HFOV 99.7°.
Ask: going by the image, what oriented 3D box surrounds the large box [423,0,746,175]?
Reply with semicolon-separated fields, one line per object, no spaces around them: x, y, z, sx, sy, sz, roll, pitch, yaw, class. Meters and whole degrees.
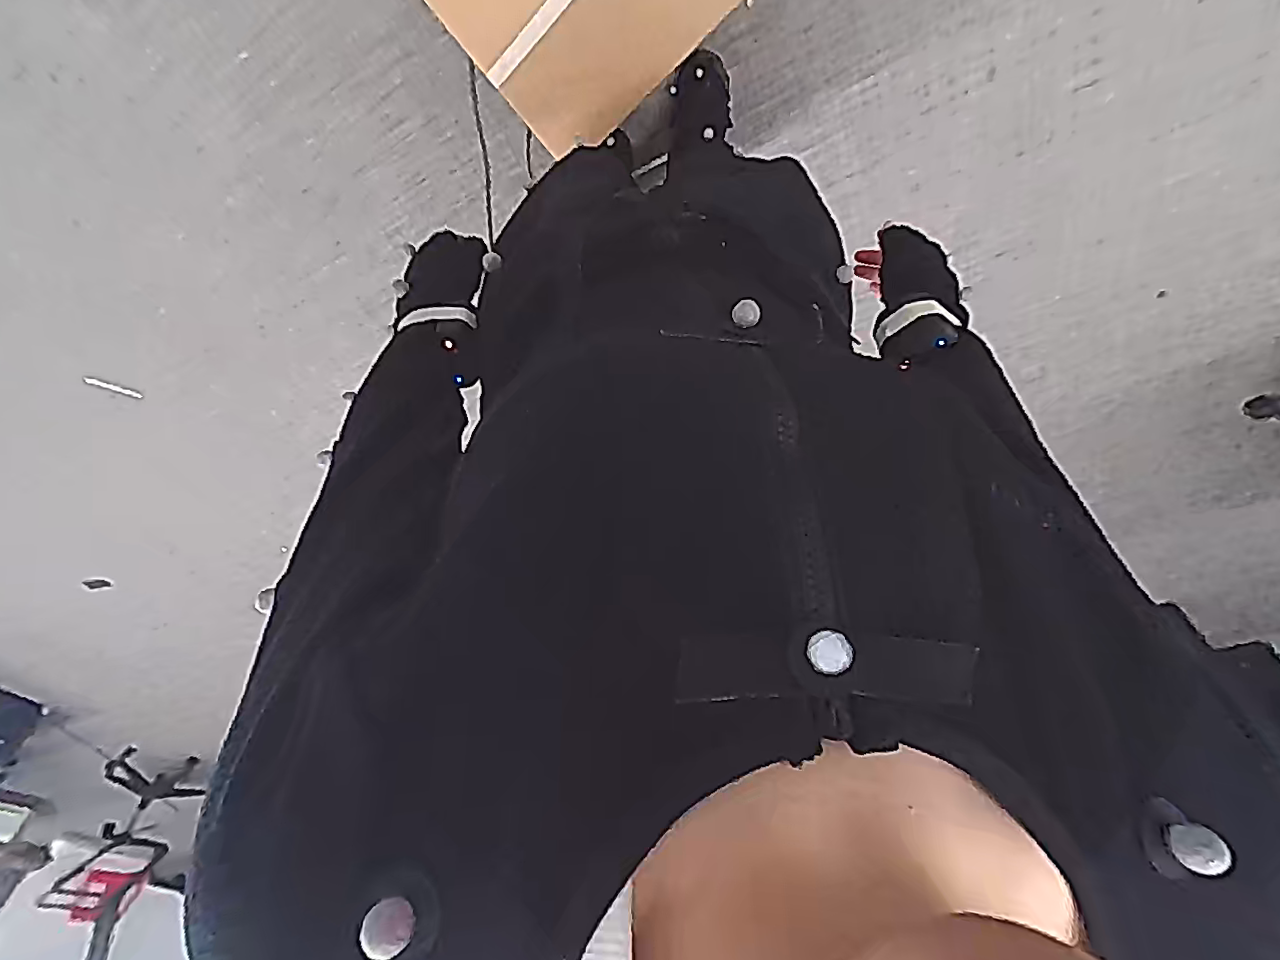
-0.056;-0.760;0.799;0.408;0.320;0.320;-31;124;26;large box
